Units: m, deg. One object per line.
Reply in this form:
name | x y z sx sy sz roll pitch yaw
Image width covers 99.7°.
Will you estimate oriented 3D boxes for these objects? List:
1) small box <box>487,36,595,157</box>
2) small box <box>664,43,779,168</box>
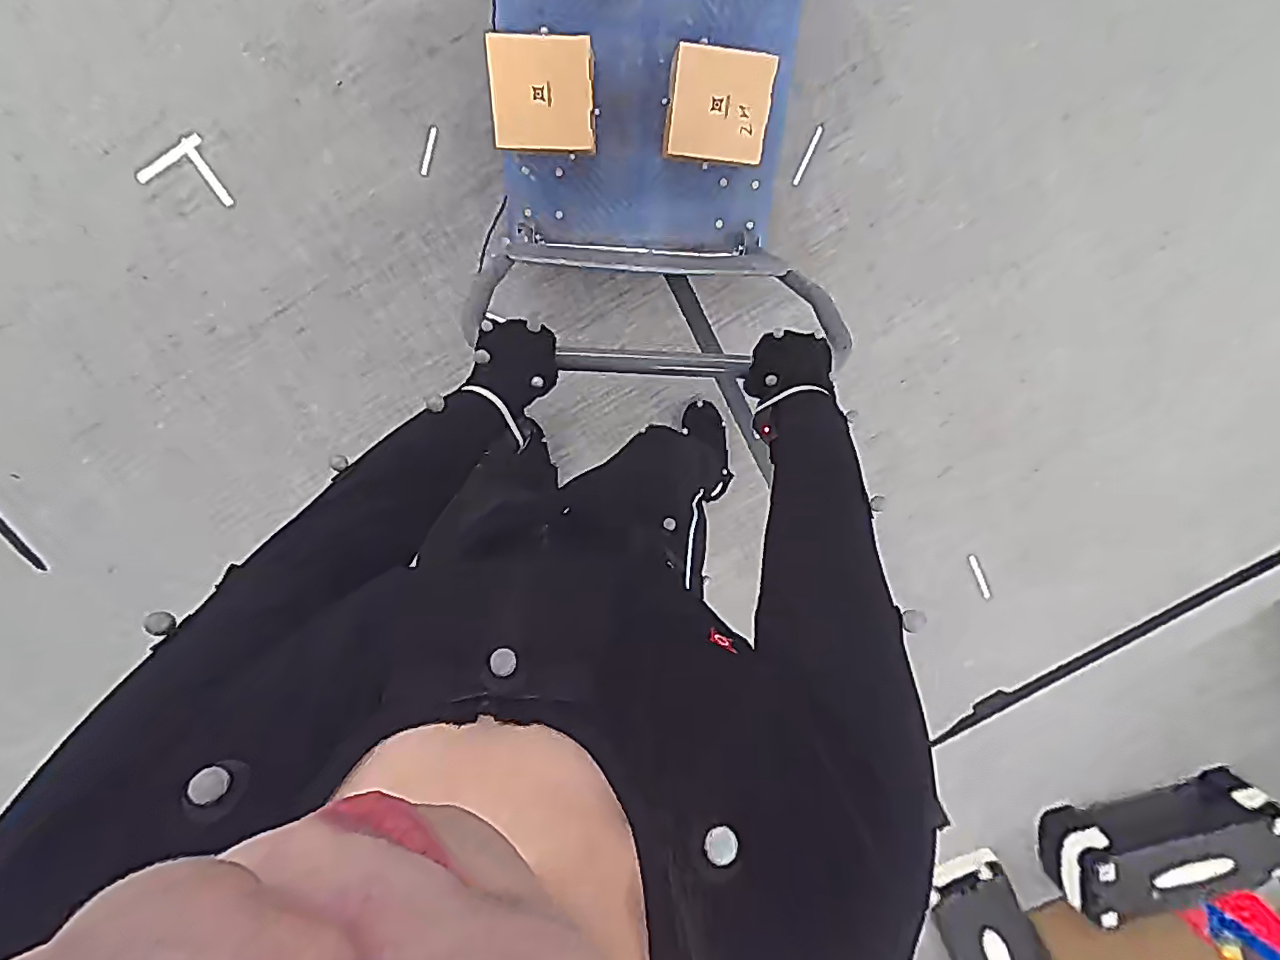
small box | -0.175 -0.702 1.007 0.179 0.176 0.168 -2 118 -4
small box | 0.142 -0.697 1.025 0.179 0.176 0.168 4 119 -5
